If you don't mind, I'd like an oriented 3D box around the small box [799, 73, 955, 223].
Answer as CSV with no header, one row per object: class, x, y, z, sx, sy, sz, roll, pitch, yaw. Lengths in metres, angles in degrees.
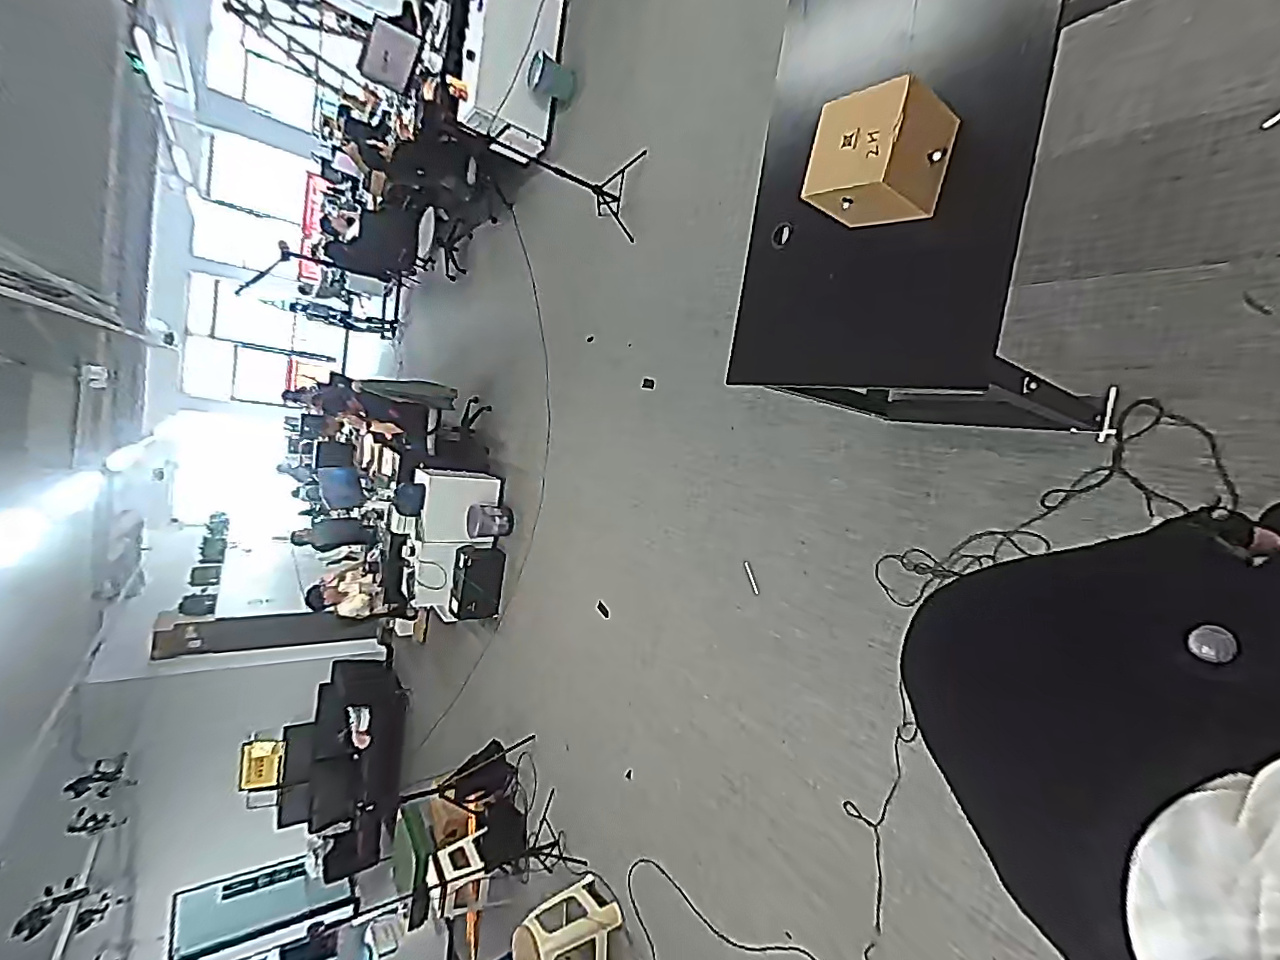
small box,0.427,-0.583,0.981,0.179,0.176,0.168,25,107,52
